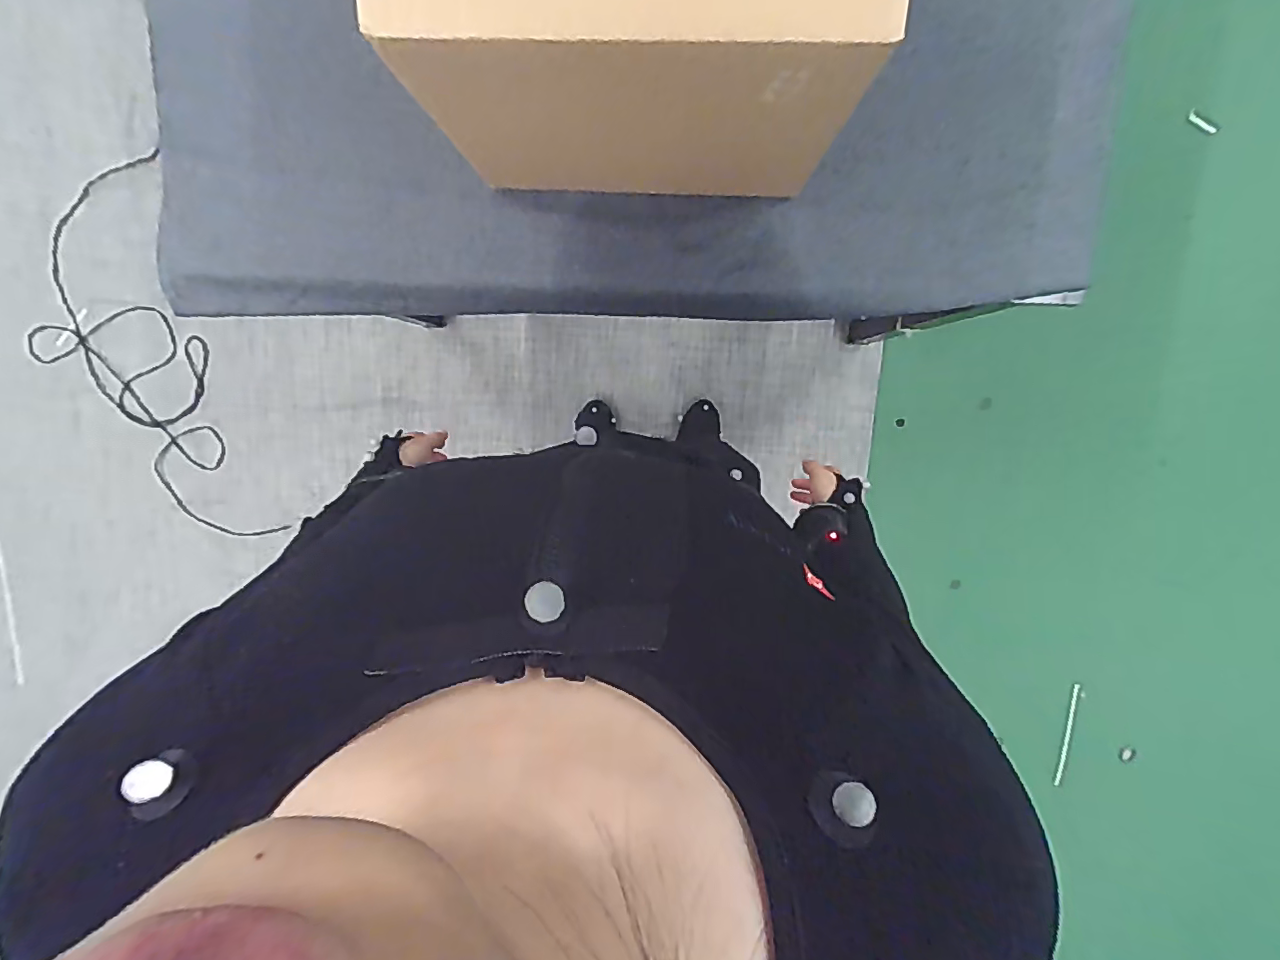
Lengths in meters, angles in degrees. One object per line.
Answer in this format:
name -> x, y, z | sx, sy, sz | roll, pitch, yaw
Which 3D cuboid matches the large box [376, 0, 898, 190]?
large box -> 0.001, -0.508, 0.537 | 0.408, 0.320, 0.320 | 2, 100, 2
